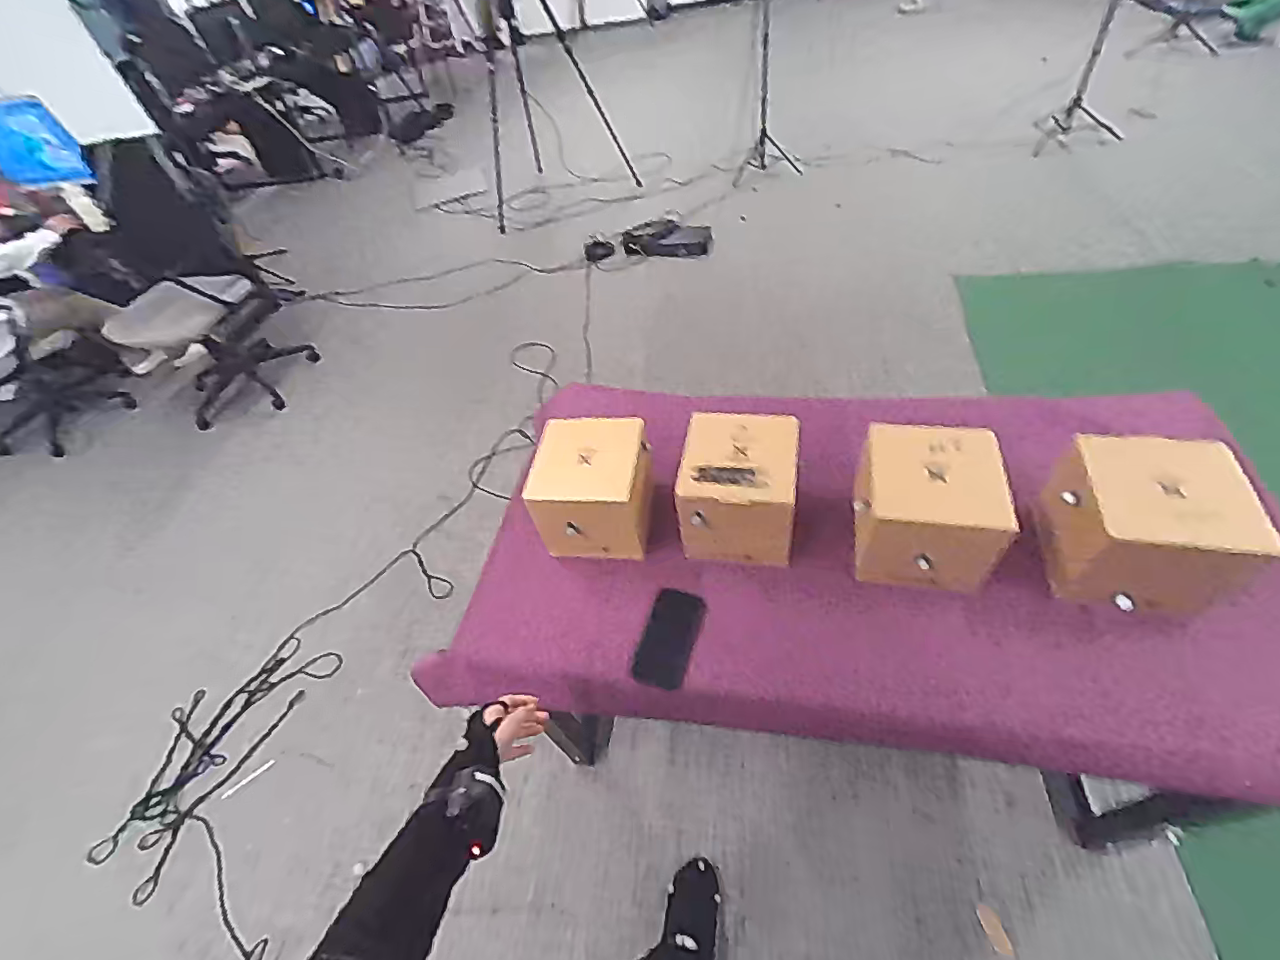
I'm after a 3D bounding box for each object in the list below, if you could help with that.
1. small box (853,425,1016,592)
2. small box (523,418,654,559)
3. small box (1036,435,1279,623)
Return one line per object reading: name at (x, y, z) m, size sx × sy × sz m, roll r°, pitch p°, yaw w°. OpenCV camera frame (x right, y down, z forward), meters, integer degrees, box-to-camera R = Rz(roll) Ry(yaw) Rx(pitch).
small box at (0.412, 0.043, 0.788) m, size 0.168 × 0.176 × 0.179 m, roll 6°, pitch 51°, yaw 15°
small box at (-0.074, 0.017, 0.906) m, size 0.168 × 0.176 × 0.179 m, roll 0°, pitch 49°, yaw 11°
small box at (0.664, 0.064, 0.723) m, size 0.168 × 0.176 × 0.179 m, roll 6°, pitch 51°, yaw 17°
